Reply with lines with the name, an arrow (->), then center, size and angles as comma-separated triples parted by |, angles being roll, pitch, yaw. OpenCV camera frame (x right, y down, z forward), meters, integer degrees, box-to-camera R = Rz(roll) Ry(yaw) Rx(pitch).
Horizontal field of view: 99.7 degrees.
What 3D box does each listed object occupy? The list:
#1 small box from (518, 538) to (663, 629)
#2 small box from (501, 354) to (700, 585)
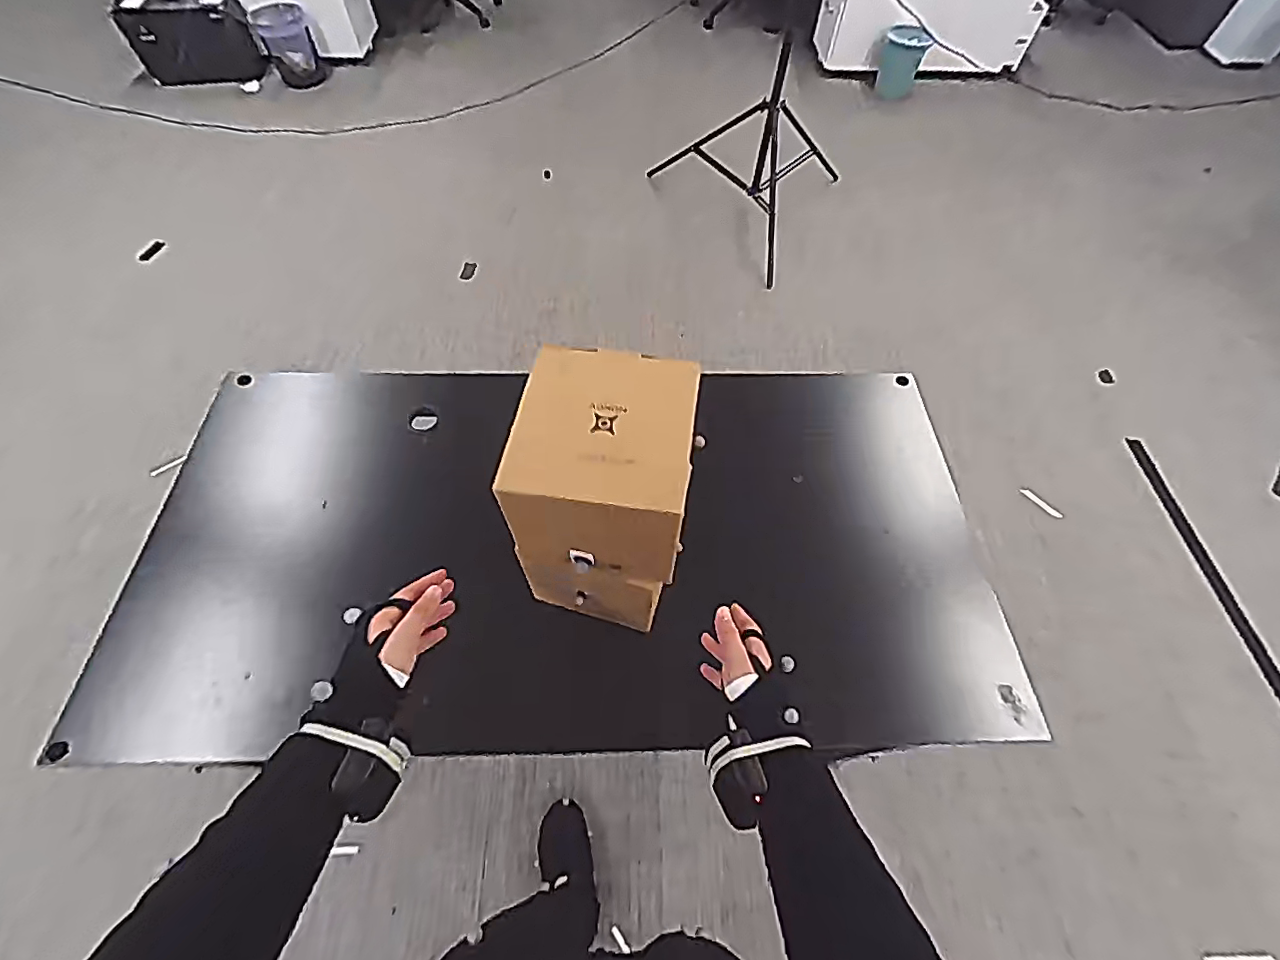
small box -> -0.040, 0.077, 0.717 | 0.168, 0.176, 0.179 | 15, 59, 7
small box -> -0.032, -0.006, 0.577 | 0.168, 0.176, 0.179 | 6, 60, 4
